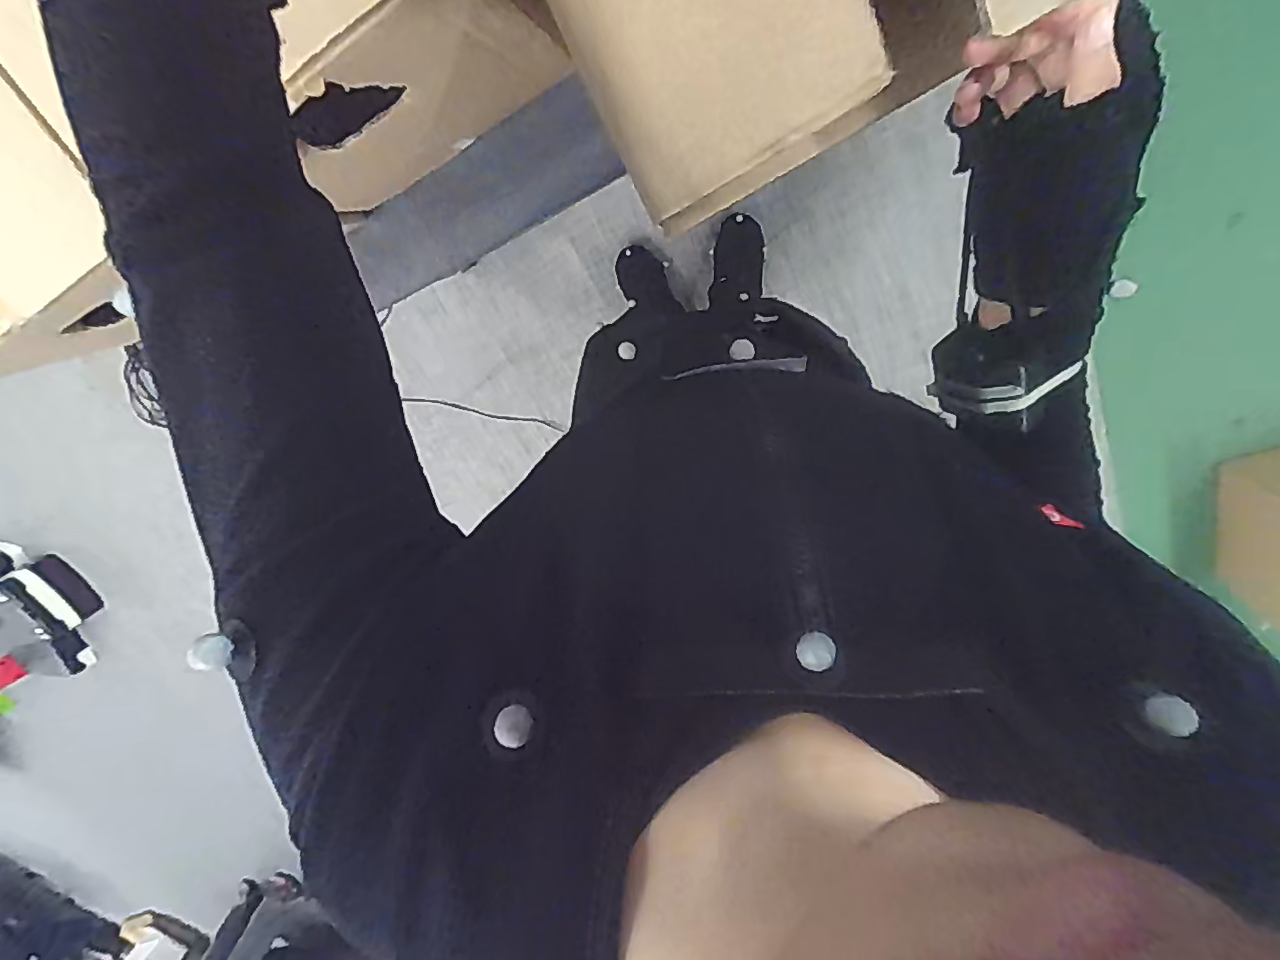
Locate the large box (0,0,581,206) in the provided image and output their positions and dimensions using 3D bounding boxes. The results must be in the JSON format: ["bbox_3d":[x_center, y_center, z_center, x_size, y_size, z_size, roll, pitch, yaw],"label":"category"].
[{"bbox_3d":[-0.295,-0.478,0.398,0.320,0.320,0.408,-21,114,19],"label":"large box"}]
